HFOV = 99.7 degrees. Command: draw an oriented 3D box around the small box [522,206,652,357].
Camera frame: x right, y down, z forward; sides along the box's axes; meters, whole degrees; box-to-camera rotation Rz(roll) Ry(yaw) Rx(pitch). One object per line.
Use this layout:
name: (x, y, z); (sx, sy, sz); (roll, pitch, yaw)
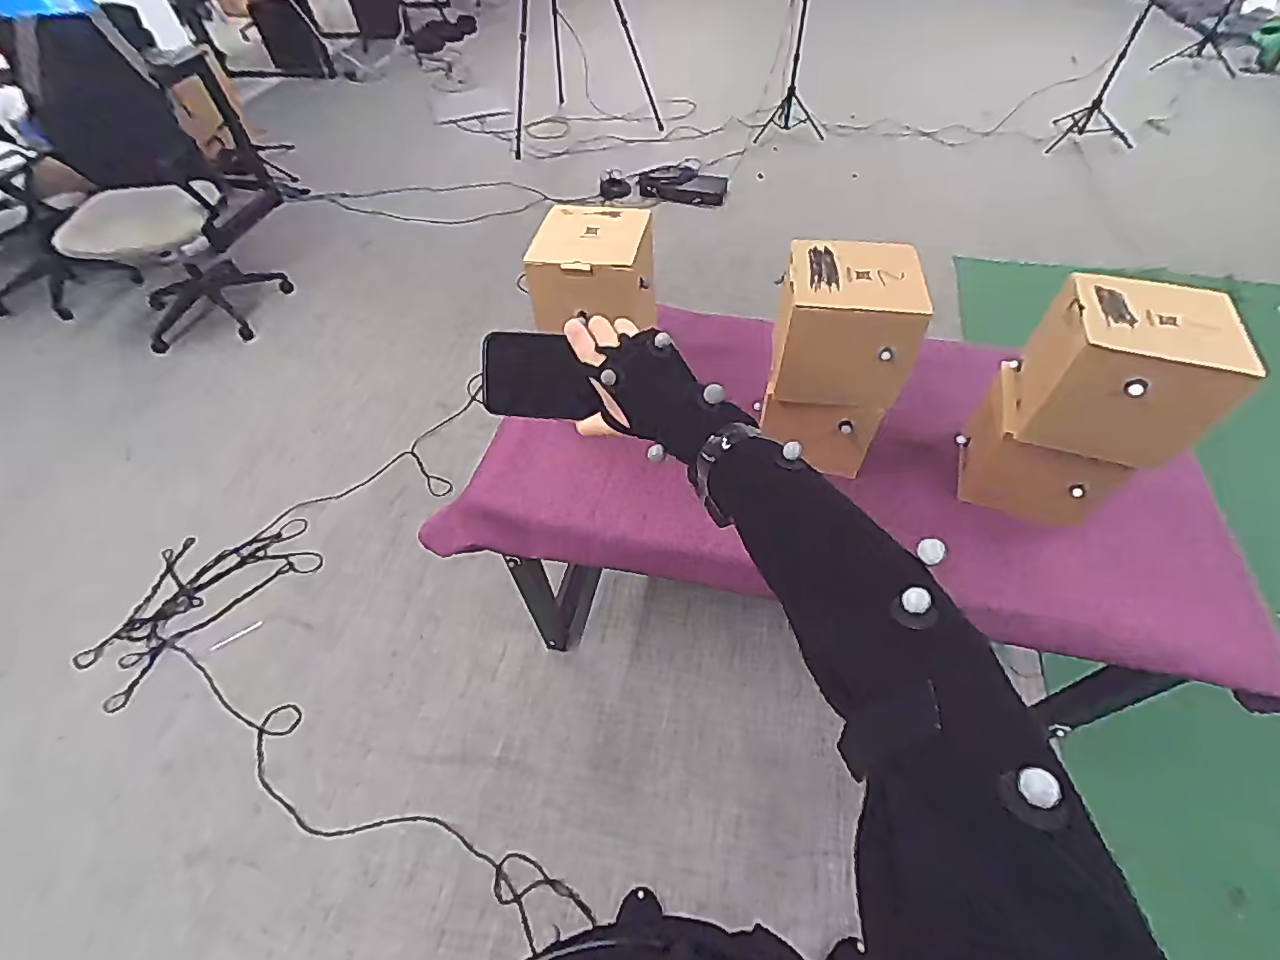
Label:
small box: (-0.073, -0.322, 0.887); (0.168, 0.176, 0.179); (7, 53, 8)

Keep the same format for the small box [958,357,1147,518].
small box: (0.629, -0.062, 0.846); (0.179, 0.176, 0.168); (15, 54, 15)

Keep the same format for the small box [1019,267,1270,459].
small box: (0.626, -0.150, 0.707); (0.179, 0.176, 0.168); (15, 54, 15)

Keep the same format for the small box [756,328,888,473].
small box: (0.304, -0.132, 0.920); (0.179, 0.176, 0.168); (10, 53, 12)

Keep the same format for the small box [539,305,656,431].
small box: (-0.067, -0.215, 1.011); (0.168, 0.176, 0.179); (11, 53, 12)
